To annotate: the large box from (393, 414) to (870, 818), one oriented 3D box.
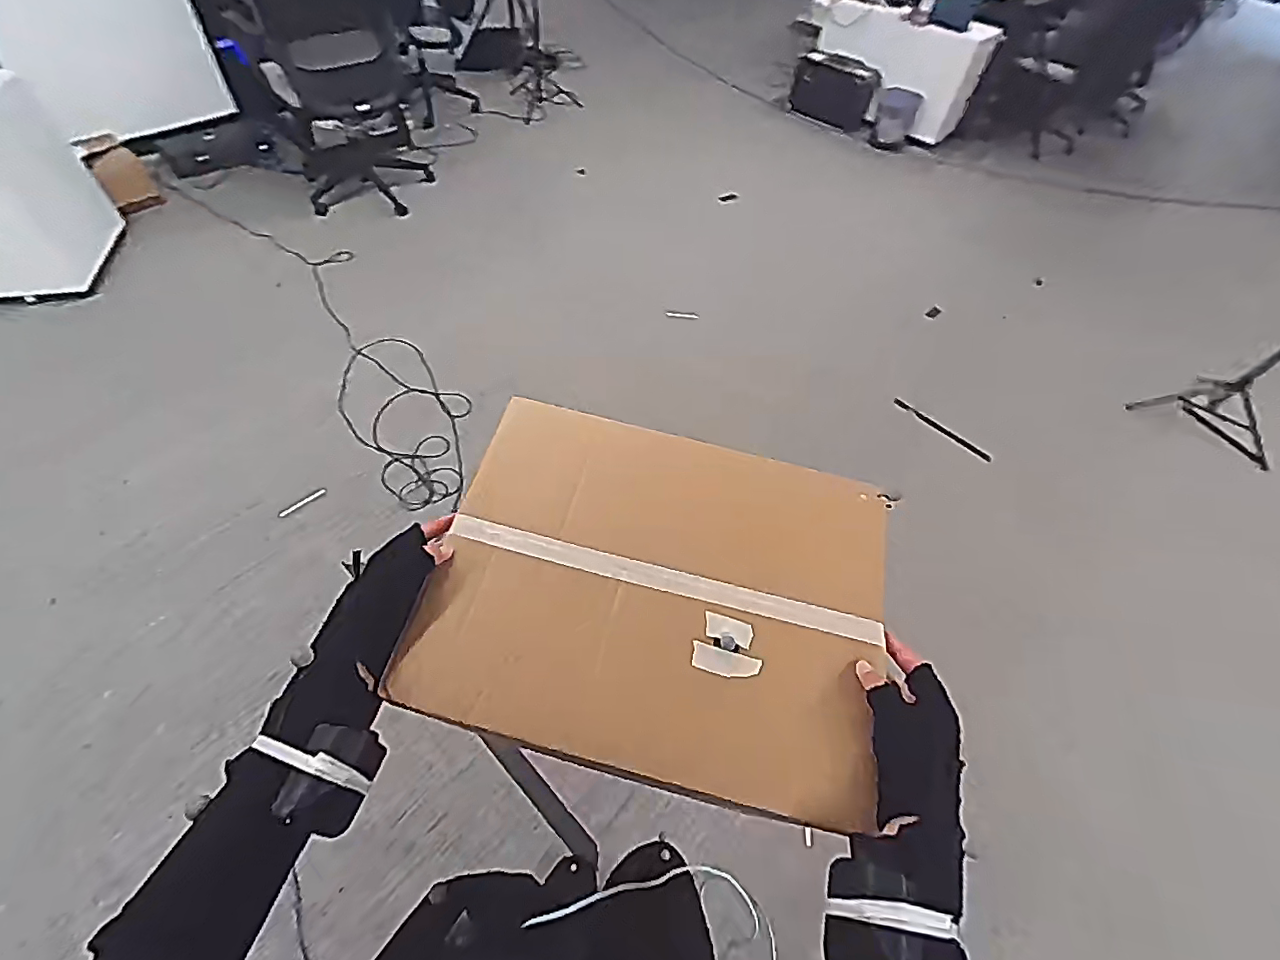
[{"bbox_3d":[0.006,0.170,0.639,0.408,0.320,0.320,14,61,3],"label":"large box"}]
